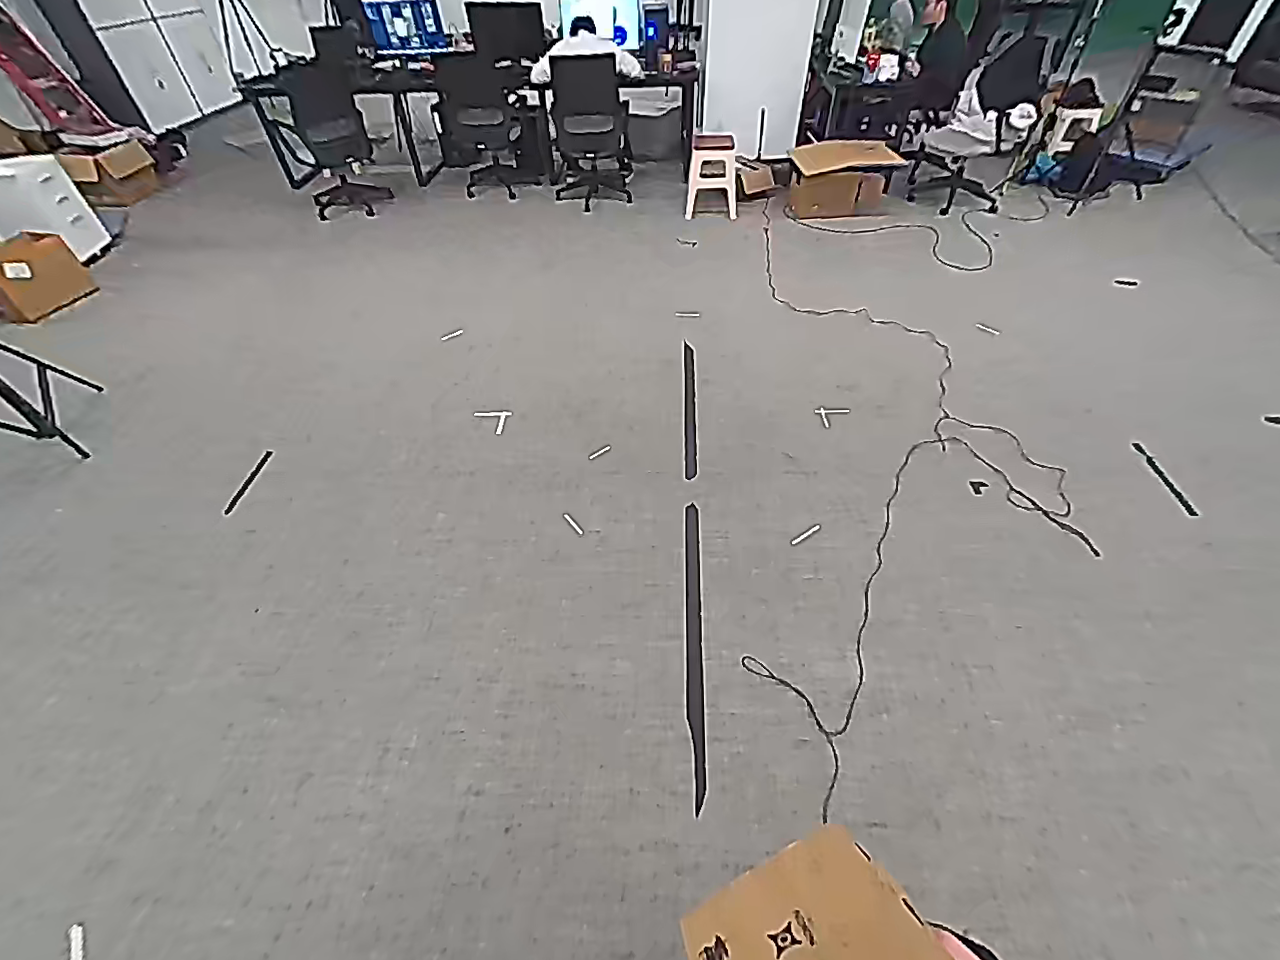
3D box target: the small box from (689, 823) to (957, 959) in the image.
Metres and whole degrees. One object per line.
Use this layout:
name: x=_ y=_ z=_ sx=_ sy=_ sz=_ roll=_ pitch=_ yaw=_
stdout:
small box: x=0.166 y=0.441 z=0.441 sx=0.179 sy=0.168 sz=0.176 roll=-26 pitch=89 yaw=-7
